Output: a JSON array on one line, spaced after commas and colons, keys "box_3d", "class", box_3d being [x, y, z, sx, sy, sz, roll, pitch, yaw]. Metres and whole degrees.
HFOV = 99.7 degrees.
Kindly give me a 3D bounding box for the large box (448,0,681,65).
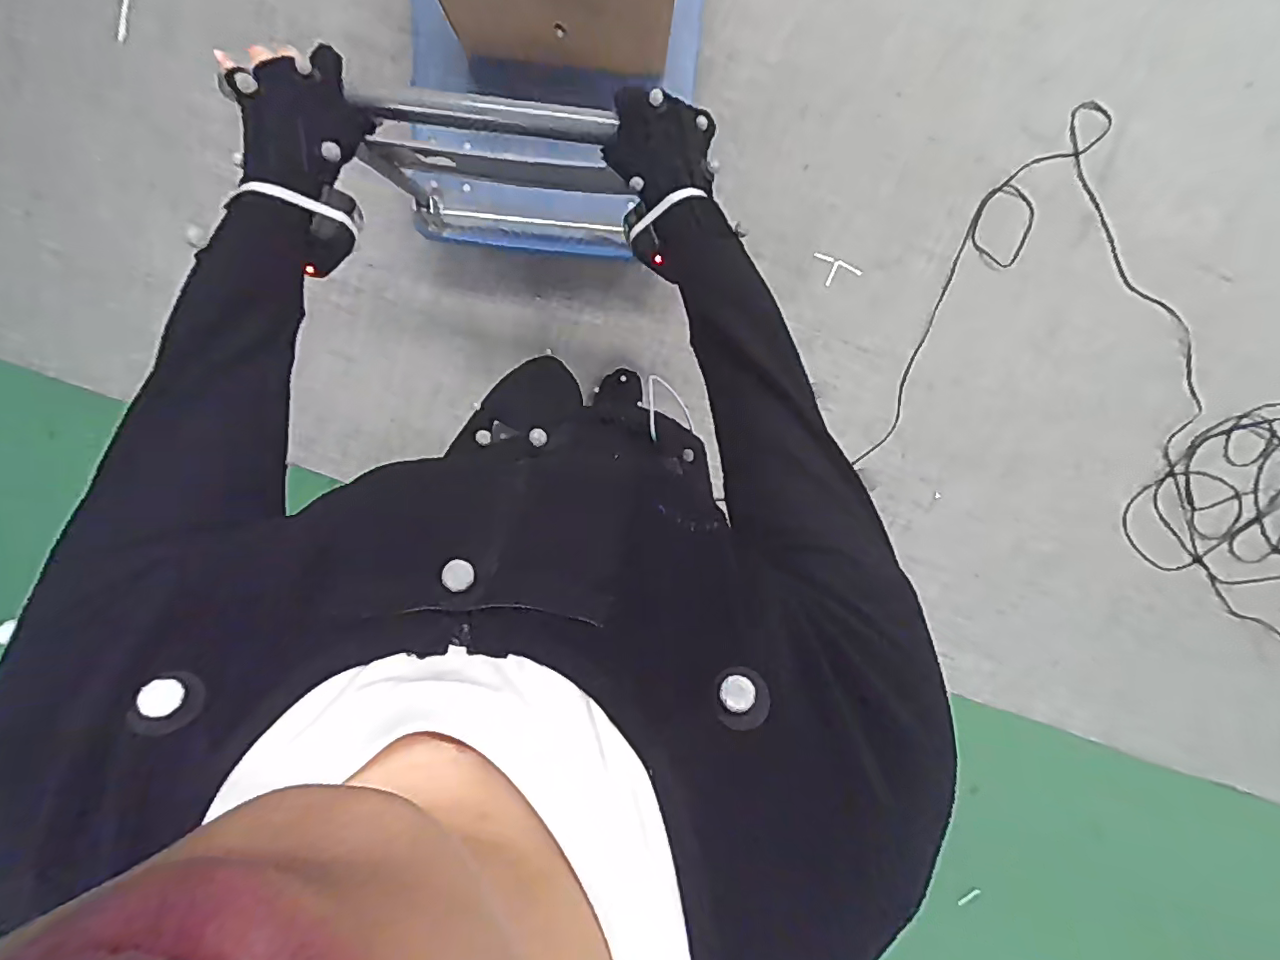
[{"box_3d": [-0.127, -0.970, 0.927, 0.408, 0.320, 0.320, 3, 103, -2], "class": "large box"}]
